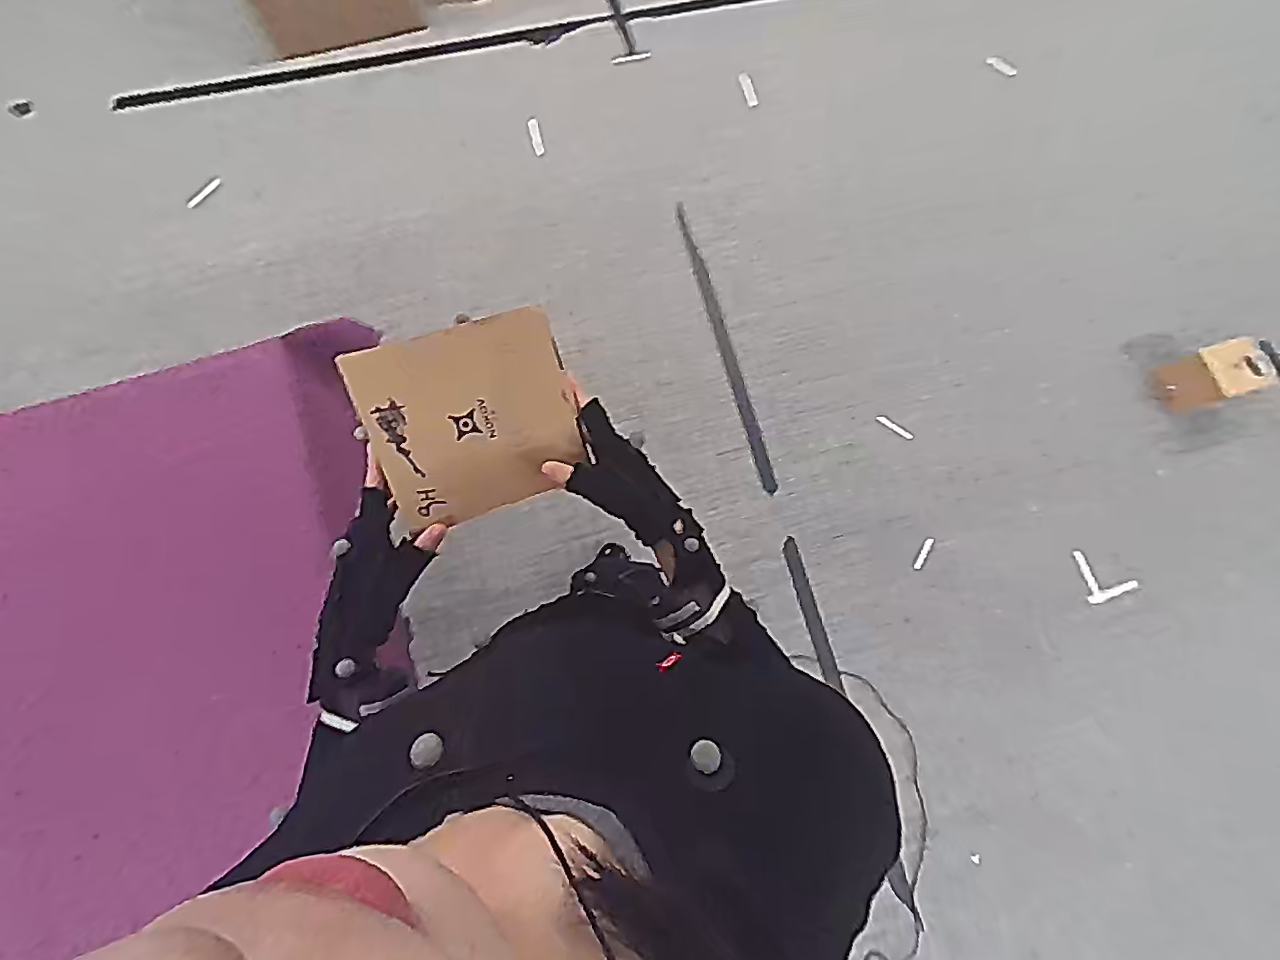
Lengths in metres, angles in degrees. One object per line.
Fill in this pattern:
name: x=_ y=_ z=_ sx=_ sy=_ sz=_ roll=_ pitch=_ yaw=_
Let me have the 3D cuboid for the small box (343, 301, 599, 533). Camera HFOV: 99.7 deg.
small box: x=-0.159 y=-0.070 z=0.541 sx=0.179 sy=0.176 sz=0.168 roll=-19 pitch=106 yaw=-11

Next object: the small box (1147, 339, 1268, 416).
small box: x=1.793 y=-0.322 z=1.719 sx=0.179 sy=0.176 sz=0.168 roll=-16 pitch=77 yaw=-6
